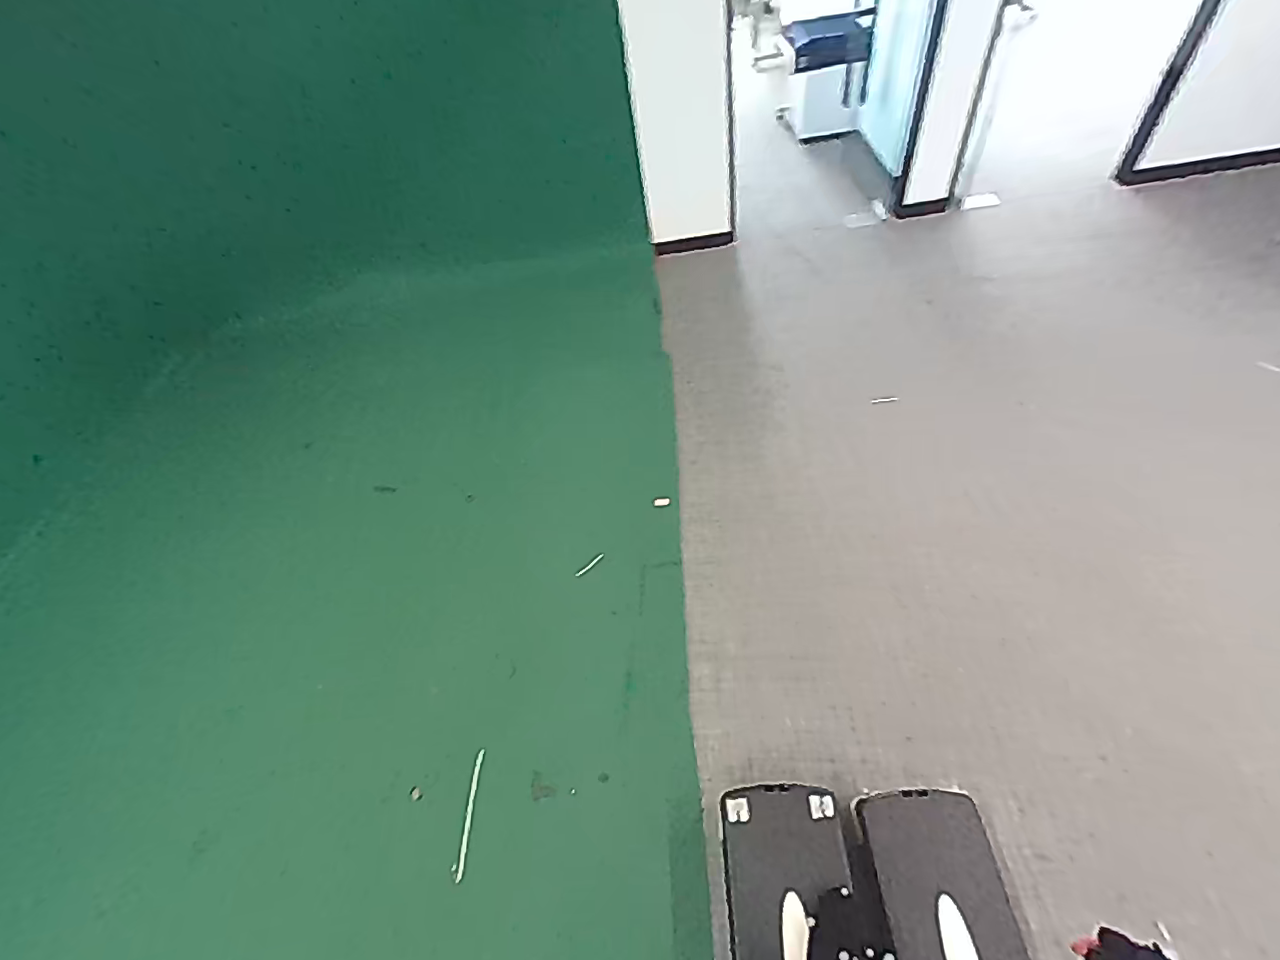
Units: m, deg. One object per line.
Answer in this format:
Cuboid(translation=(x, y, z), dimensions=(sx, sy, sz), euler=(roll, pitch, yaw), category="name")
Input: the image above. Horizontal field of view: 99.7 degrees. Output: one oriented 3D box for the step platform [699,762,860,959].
Cuboid(translation=(0.276, 0.918, 1.001), dimensions=(0.286, 0.204, 0.684), euler=(-5, 52, 6), category="step platform")
